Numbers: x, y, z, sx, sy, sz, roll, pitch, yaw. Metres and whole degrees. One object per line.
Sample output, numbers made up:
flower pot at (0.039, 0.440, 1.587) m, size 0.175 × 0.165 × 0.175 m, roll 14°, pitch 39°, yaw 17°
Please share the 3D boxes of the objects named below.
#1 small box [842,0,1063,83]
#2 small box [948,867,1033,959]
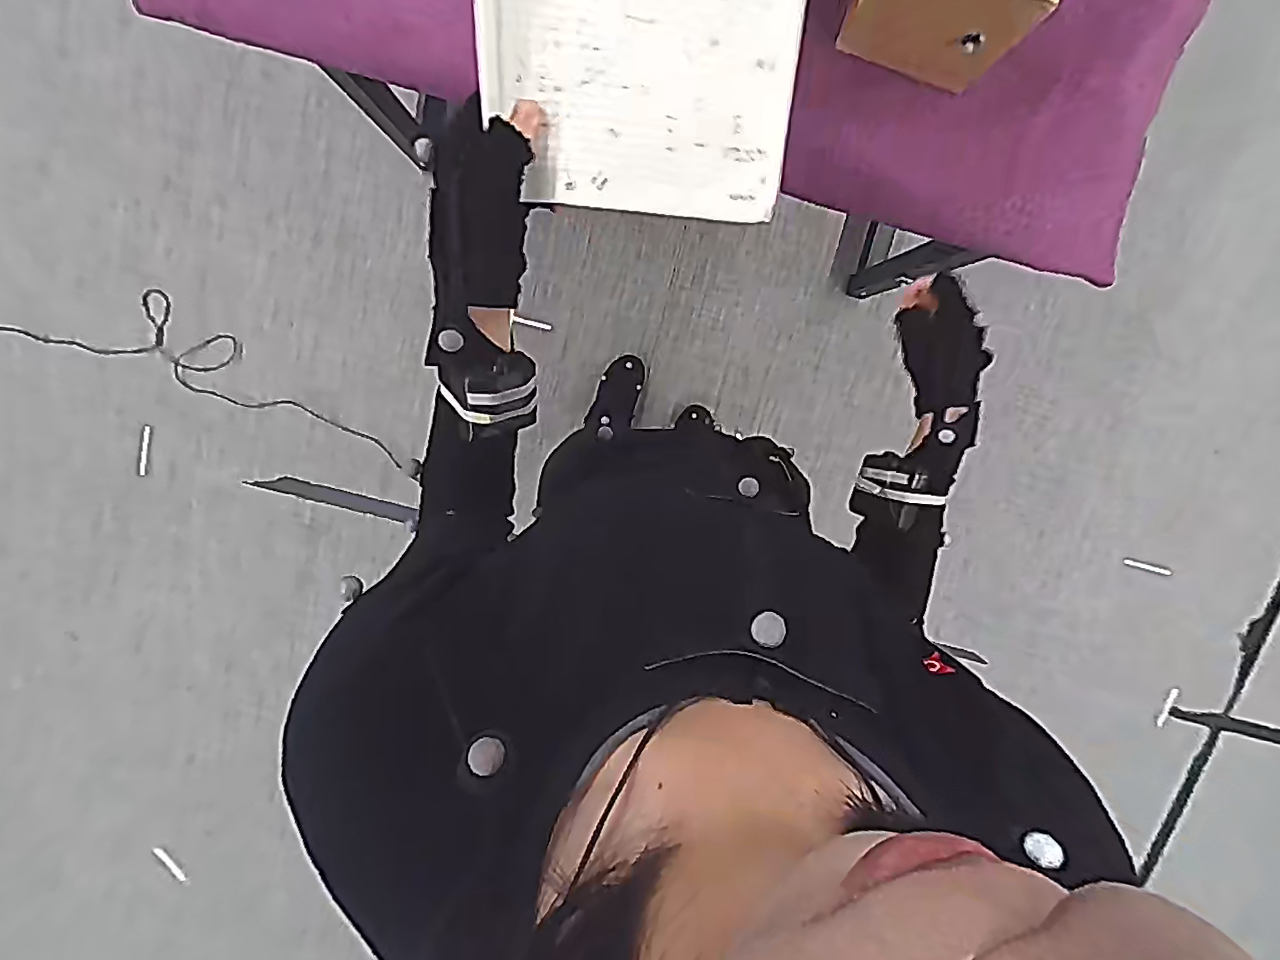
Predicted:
small box at (0.355, -0.581, 0.589) m, size 0.179 × 0.176 × 0.168 m, roll 17°, pitch 97°, yaw -3°
small box at (1.107, 1.383, 1.718) m, size 0.168 × 0.176 × 0.179 m, roll -8°, pitch 100°, yaw -1°
